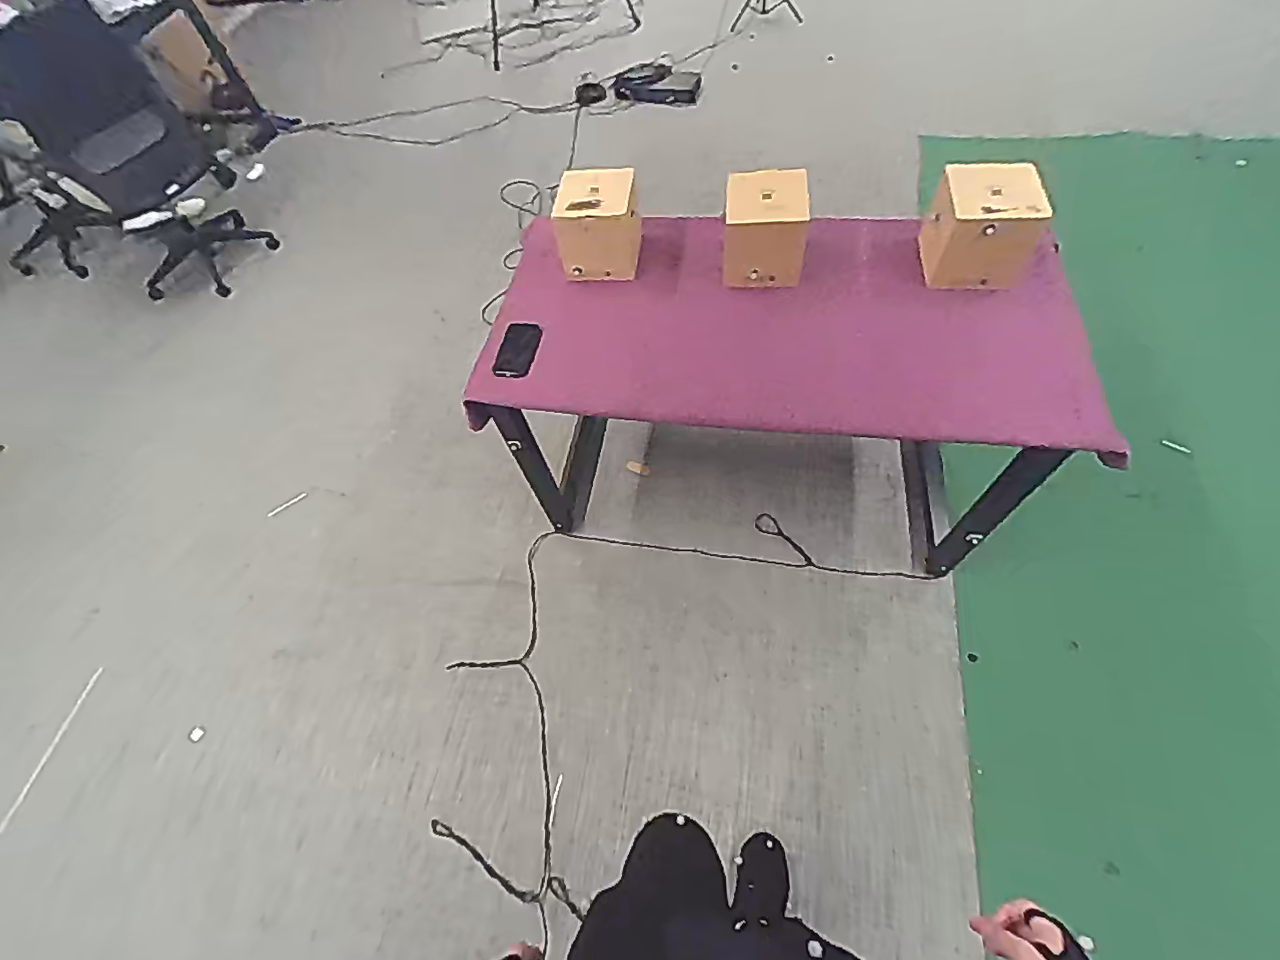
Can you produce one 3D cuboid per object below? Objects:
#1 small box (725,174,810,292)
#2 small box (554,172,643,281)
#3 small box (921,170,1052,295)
[{"bbox_3d":[0.274,-0.539,1.186,0.168,0.176,0.179,2,60,9],"label":"small box"},{"bbox_3d":[-0.087,-0.581,1.254,0.168,0.176,0.179,3,59,8],"label":"small box"},{"bbox_3d":[0.697,-0.508,1.113,0.168,0.176,0.179,4,59,10],"label":"small box"}]
